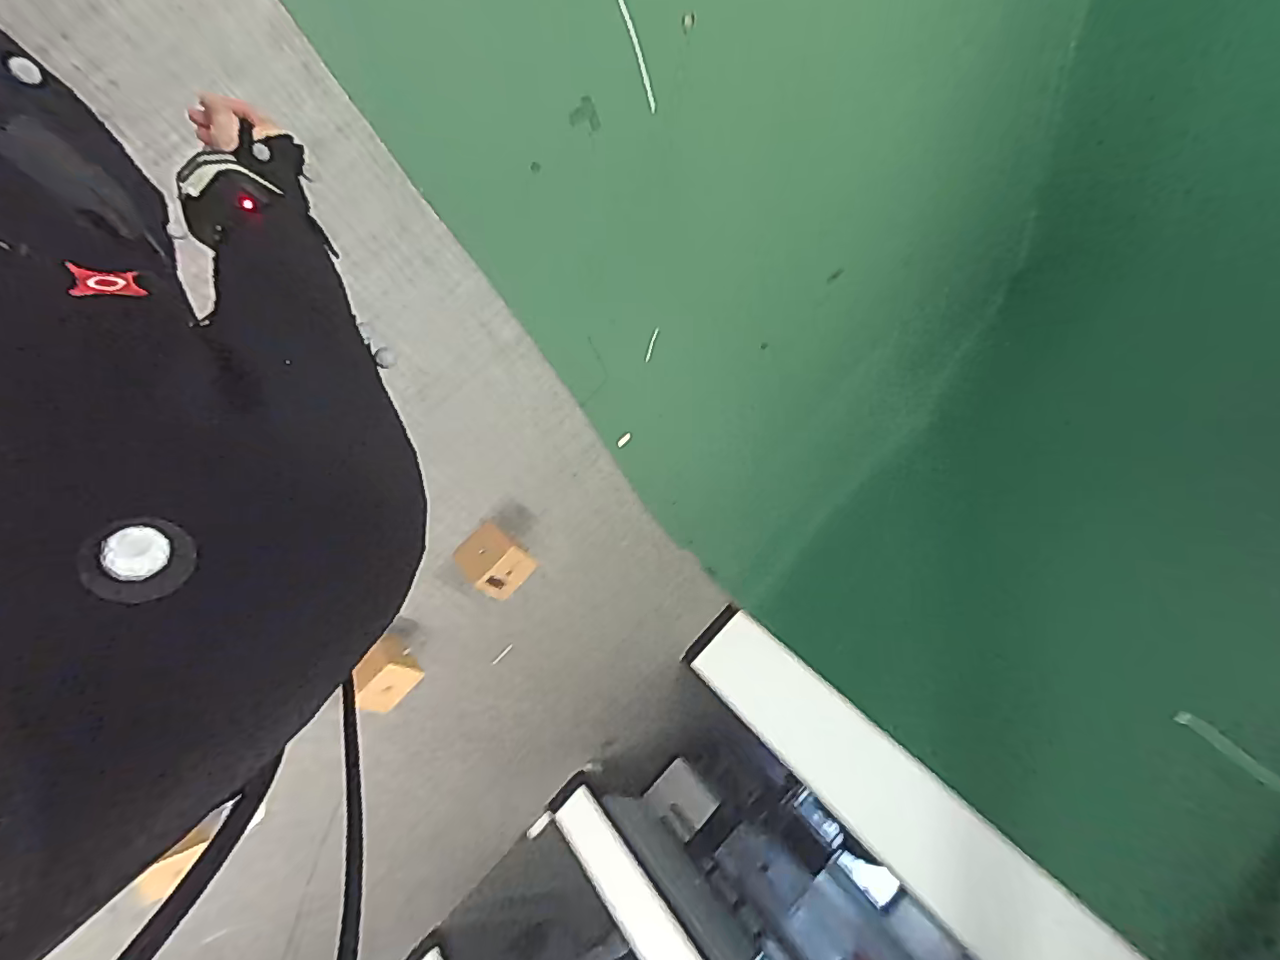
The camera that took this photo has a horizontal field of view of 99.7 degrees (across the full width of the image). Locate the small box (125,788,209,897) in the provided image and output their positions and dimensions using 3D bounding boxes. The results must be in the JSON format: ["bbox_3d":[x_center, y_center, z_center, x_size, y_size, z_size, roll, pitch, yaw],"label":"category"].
[{"bbox_3d":[-1.385,1.054,1.586,0.168,0.176,0.179,-10,127,-43],"label":"small box"}]

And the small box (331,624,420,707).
[{"bbox_3d":[-0.857,0.595,1.741,0.179,0.176,0.168,-46,144,-5],"label":"small box"}]
